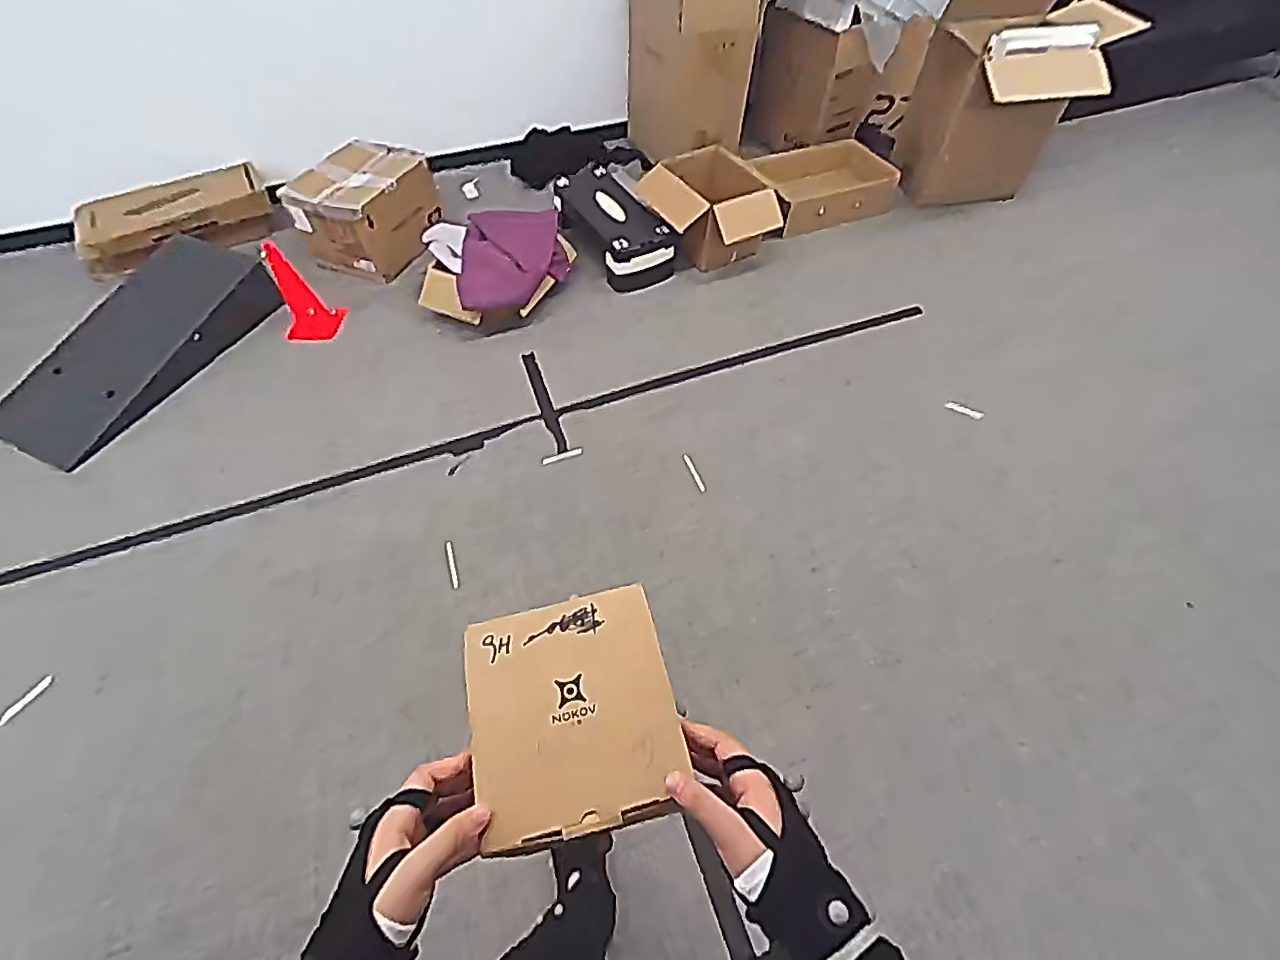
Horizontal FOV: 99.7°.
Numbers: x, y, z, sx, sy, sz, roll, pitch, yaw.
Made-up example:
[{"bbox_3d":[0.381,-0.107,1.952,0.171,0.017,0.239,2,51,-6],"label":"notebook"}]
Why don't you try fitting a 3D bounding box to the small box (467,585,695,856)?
[{"bbox_3d":[-0.052,0.225,0.508,0.168,0.176,0.179,-13,57,-6],"label":"small box"}]
